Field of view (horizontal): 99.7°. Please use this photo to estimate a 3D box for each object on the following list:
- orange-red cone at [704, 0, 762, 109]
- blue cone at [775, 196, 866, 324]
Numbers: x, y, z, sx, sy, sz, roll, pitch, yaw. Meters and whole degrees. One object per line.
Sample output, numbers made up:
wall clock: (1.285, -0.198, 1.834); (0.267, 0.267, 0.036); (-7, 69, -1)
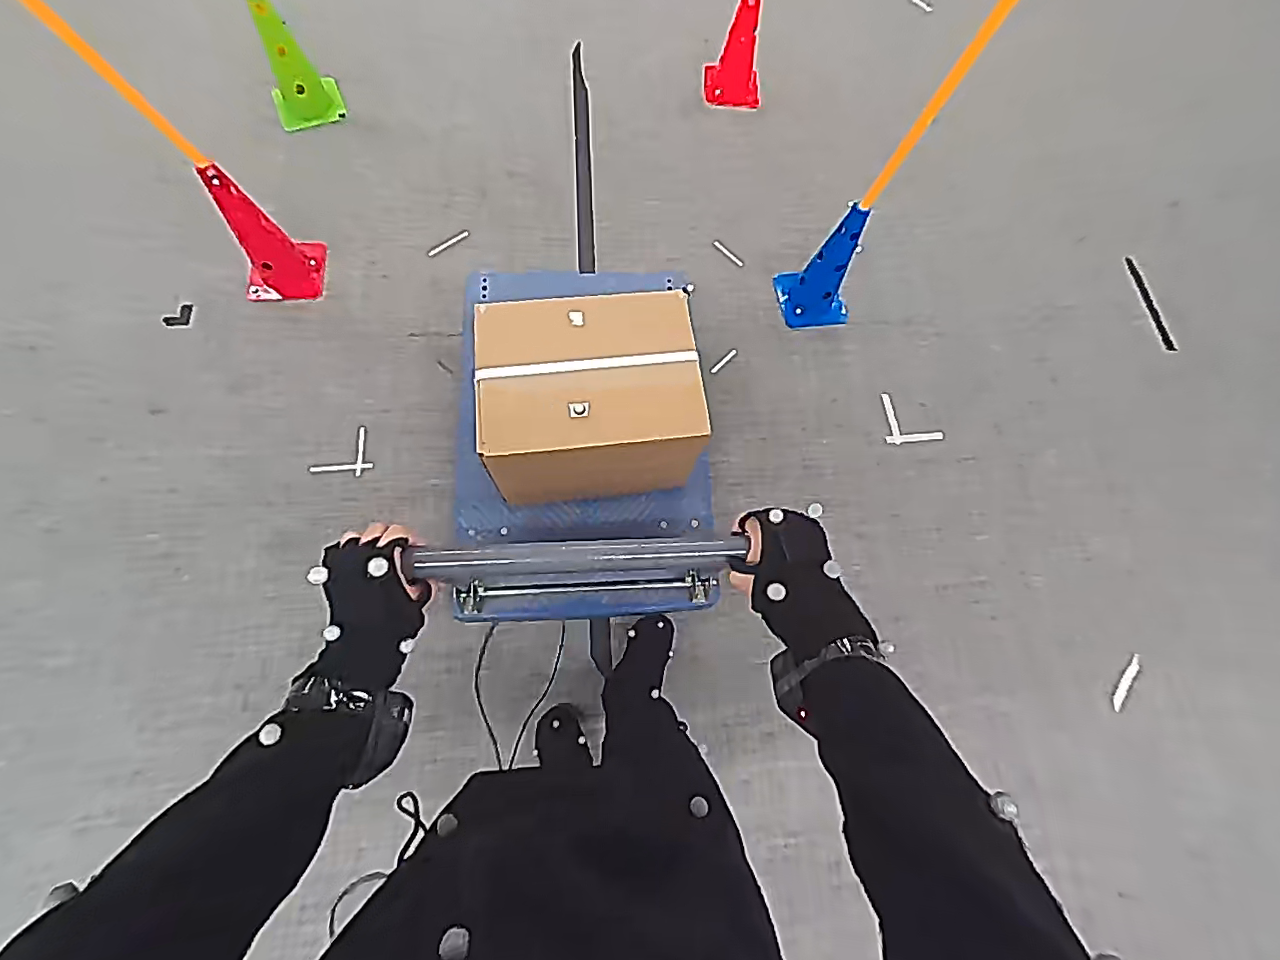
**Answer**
orange-red cone: (0.344, -1.474, 1.788); (0.199, 0.360, 0.198); (4, 71, -4)
blue cone: (0.538, -0.624, 1.524); (0.193, 0.380, 0.192); (-6, 70, -7)
